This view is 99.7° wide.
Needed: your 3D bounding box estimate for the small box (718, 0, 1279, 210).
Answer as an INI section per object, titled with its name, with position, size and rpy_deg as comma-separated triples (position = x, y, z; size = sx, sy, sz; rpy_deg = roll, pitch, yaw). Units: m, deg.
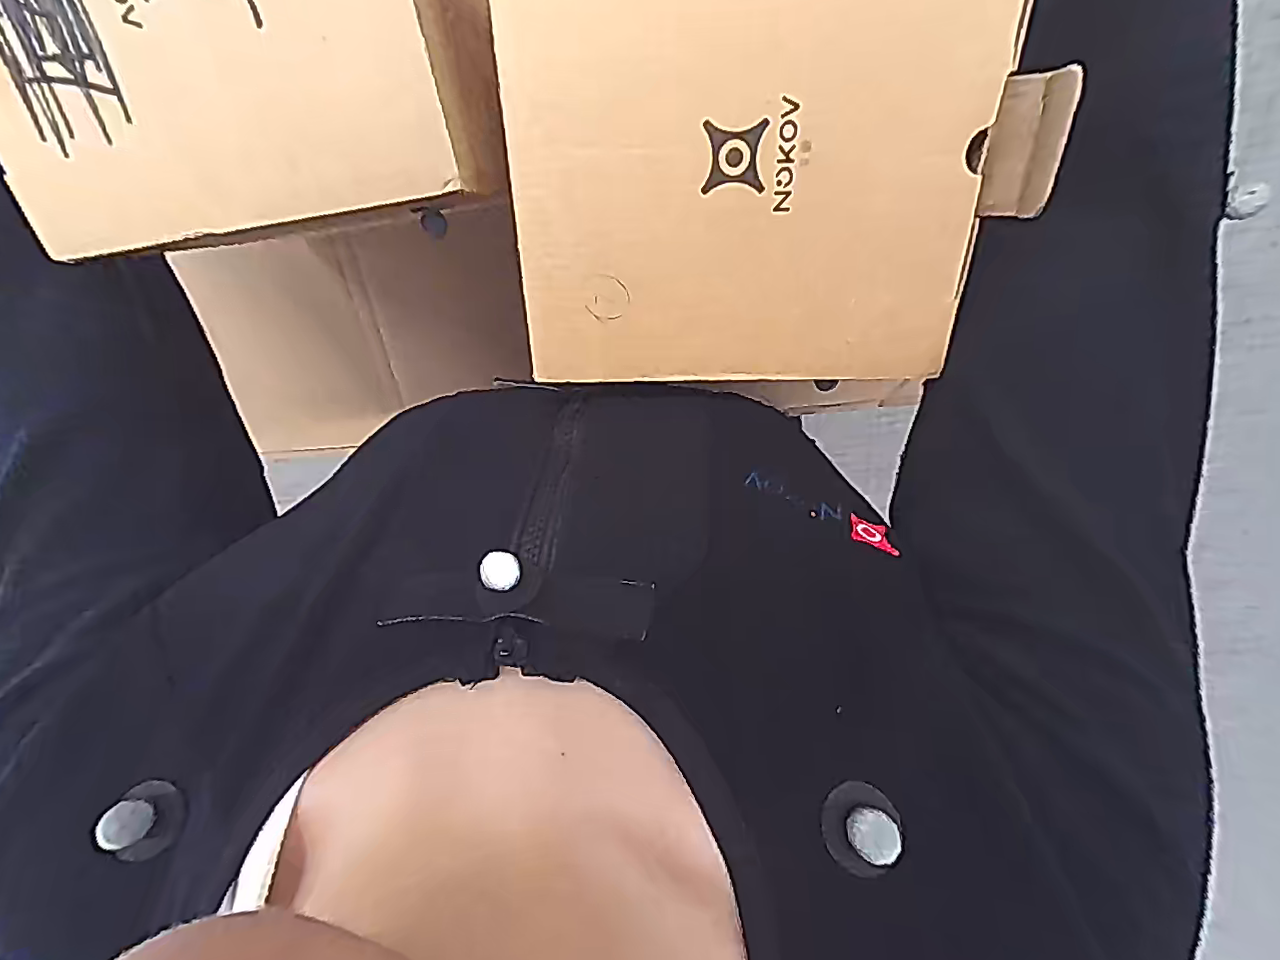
[small box]
position = 0.138, -0.220, 0.211
size = 0.179, 0.176, 0.168
rpy_deg = 11, 124, -4
